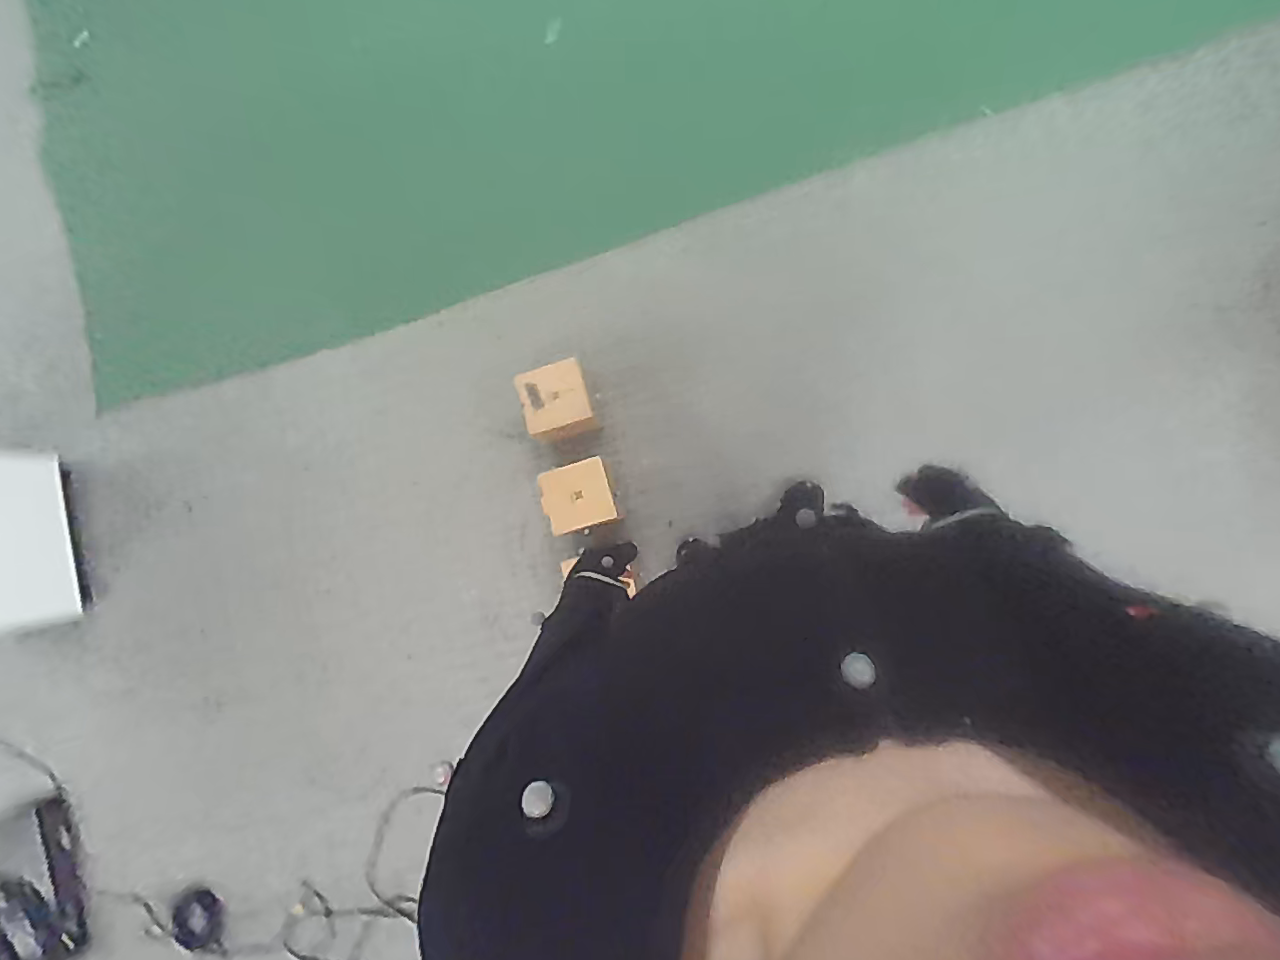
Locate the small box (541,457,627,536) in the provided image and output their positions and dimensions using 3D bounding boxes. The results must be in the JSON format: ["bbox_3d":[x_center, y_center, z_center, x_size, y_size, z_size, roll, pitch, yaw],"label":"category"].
[{"bbox_3d":[-0.139,0.044,1.441,0.179,0.176,0.168,-18,85,7],"label":"small box"}]

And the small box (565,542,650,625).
[{"bbox_3d":[-0.076,0.266,1.420,0.179,0.176,0.168,-16,85,7],"label":"small box"}]

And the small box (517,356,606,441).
[{"bbox_3d":[-0.206,-0.211,1.462,0.179,0.176,0.168,-17,85,6],"label":"small box"}]
